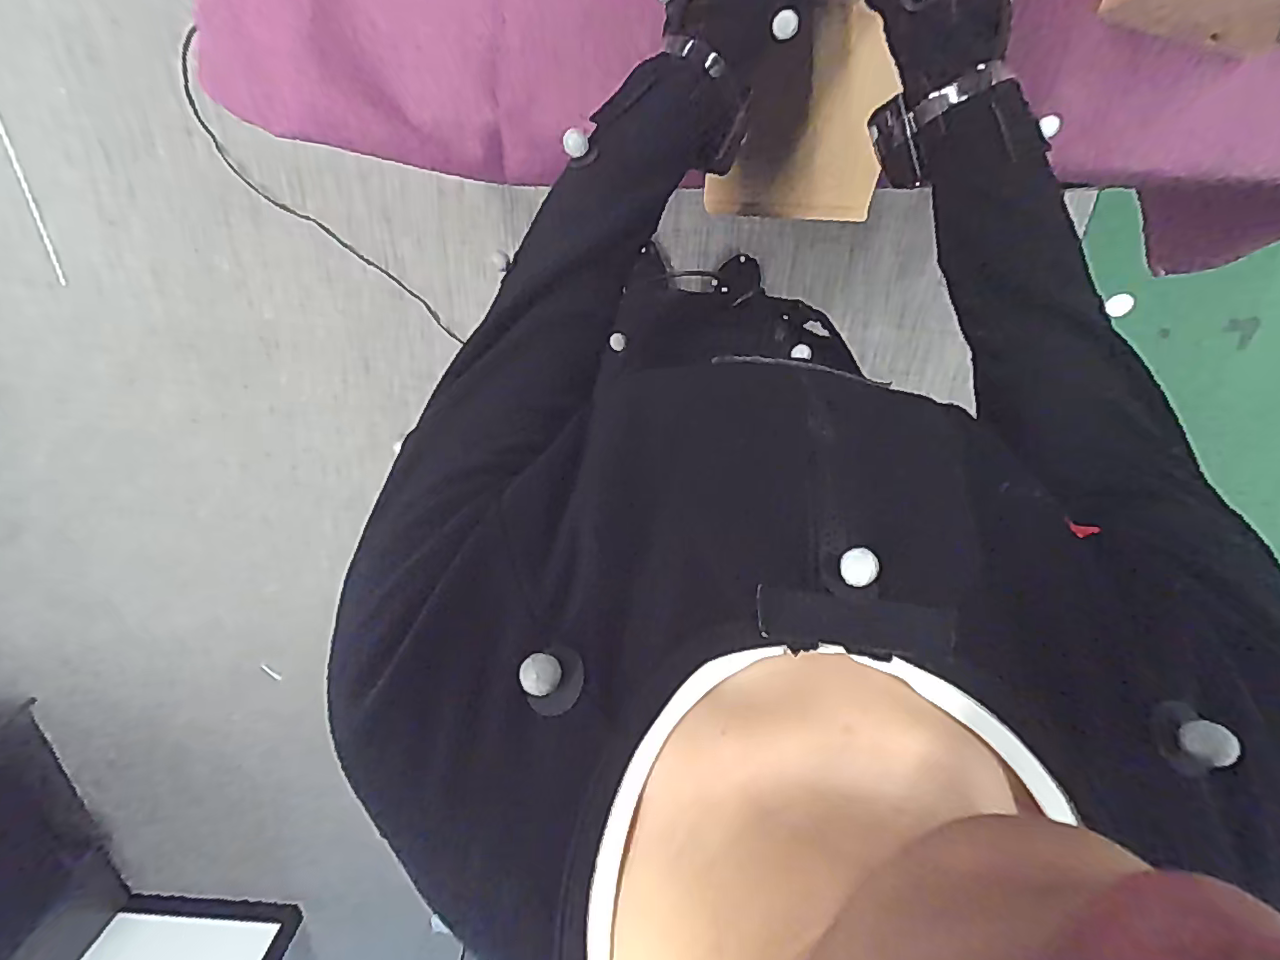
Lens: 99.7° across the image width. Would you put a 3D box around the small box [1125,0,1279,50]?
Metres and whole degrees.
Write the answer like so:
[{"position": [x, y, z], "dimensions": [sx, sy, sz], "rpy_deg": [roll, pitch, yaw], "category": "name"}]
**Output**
[{"position": [0.536, -0.474, 0.417], "dimensions": [0.168, 0.176, 0.179], "rpy_deg": [13, 114, -3], "category": "small box"}]
